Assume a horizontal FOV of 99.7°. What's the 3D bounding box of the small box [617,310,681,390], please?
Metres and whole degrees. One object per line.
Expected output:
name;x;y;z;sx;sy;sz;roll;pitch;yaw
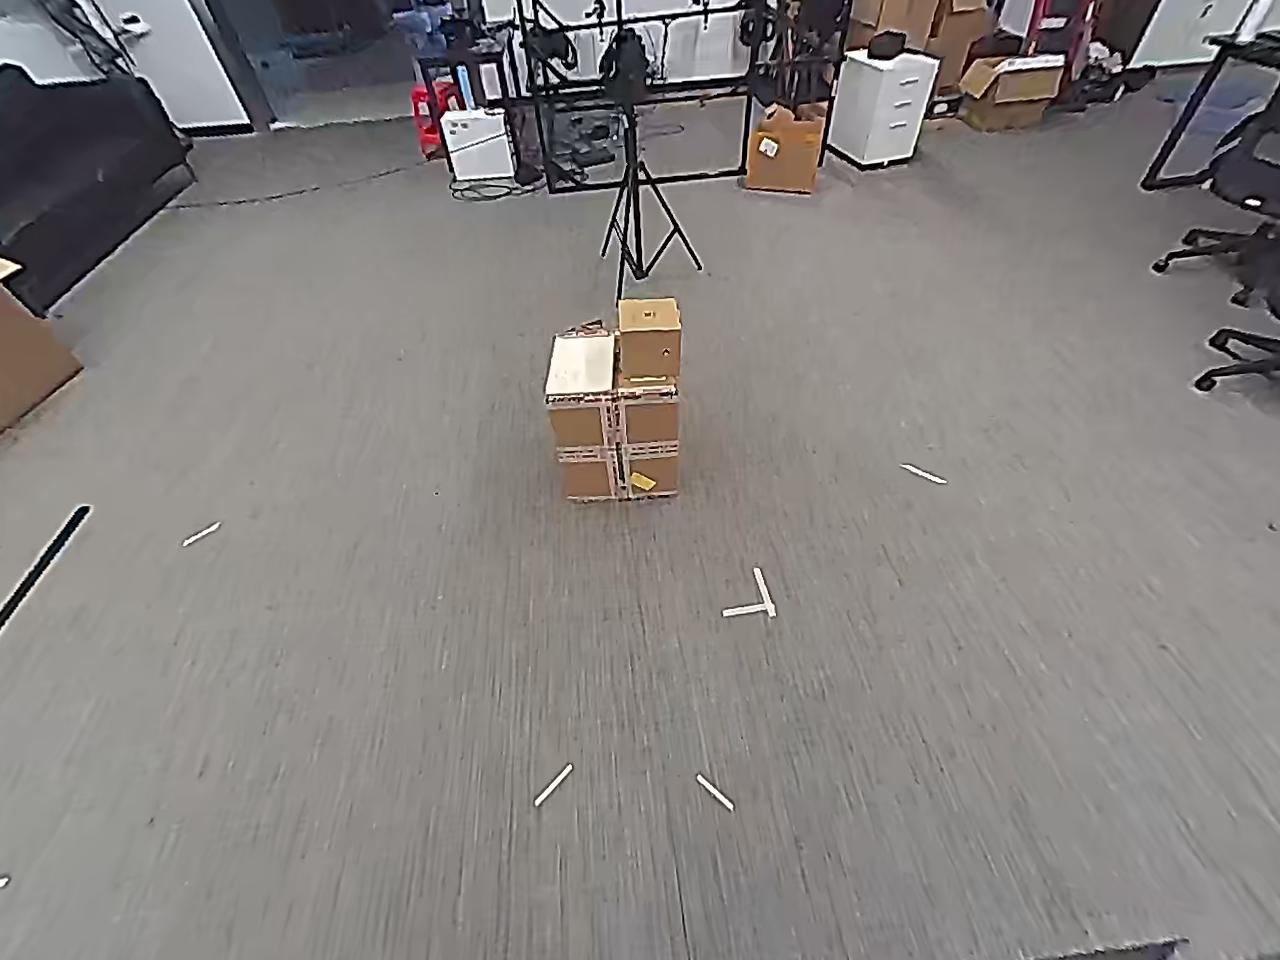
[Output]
small box;0.023;-0.384;1.603;0.179;0.176;0.168;-3;49;-1
